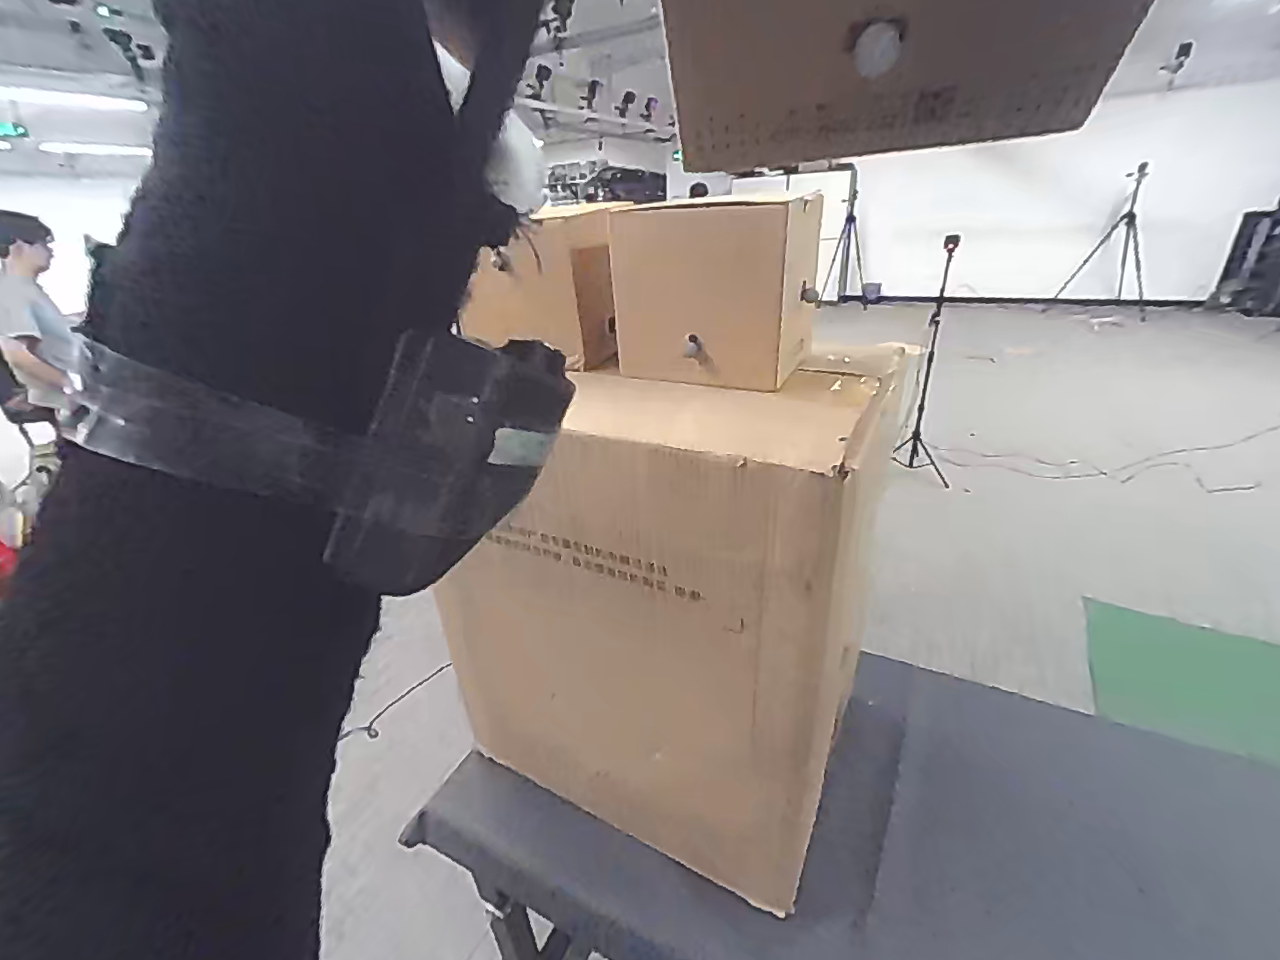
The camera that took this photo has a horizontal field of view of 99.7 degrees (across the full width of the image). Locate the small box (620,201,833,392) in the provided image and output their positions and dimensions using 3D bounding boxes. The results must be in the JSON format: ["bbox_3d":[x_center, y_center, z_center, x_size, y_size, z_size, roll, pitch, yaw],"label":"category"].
[{"bbox_3d":[0.096,-0.203,0.589,0.179,0.176,0.168,11,31,25],"label":"small box"}]

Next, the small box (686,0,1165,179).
[{"bbox_3d":[0.102,-0.251,0.202,0.168,0.176,0.179,1,69,13],"label":"small box"}]

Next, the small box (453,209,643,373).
[{"bbox_3d":[-0.100,-0.242,0.687,0.179,0.176,0.168,10,33,24],"label":"small box"}]
